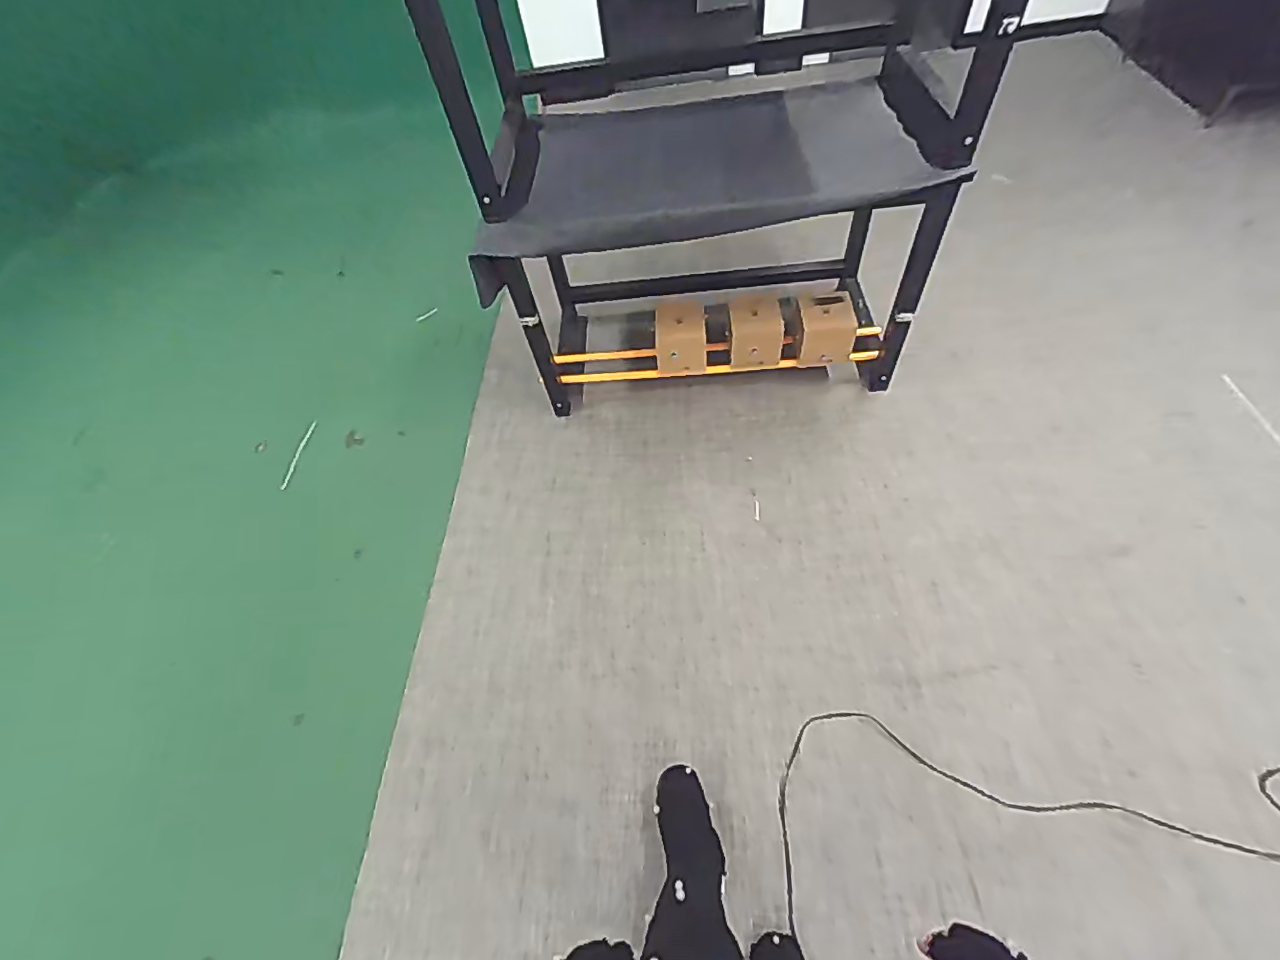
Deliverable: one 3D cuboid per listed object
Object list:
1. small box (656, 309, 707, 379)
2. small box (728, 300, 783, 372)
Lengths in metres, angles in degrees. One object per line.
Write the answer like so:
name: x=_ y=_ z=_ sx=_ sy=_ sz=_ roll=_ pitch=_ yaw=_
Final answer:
small box: x=0.145 y=-0.462 z=1.865 sx=0.168 sy=0.176 sz=0.179 roll=-2 pitch=56 yaw=5
small box: x=0.390 y=-0.482 z=1.842 sx=0.168 sy=0.176 sz=0.179 roll=-4 pitch=55 yaw=5
